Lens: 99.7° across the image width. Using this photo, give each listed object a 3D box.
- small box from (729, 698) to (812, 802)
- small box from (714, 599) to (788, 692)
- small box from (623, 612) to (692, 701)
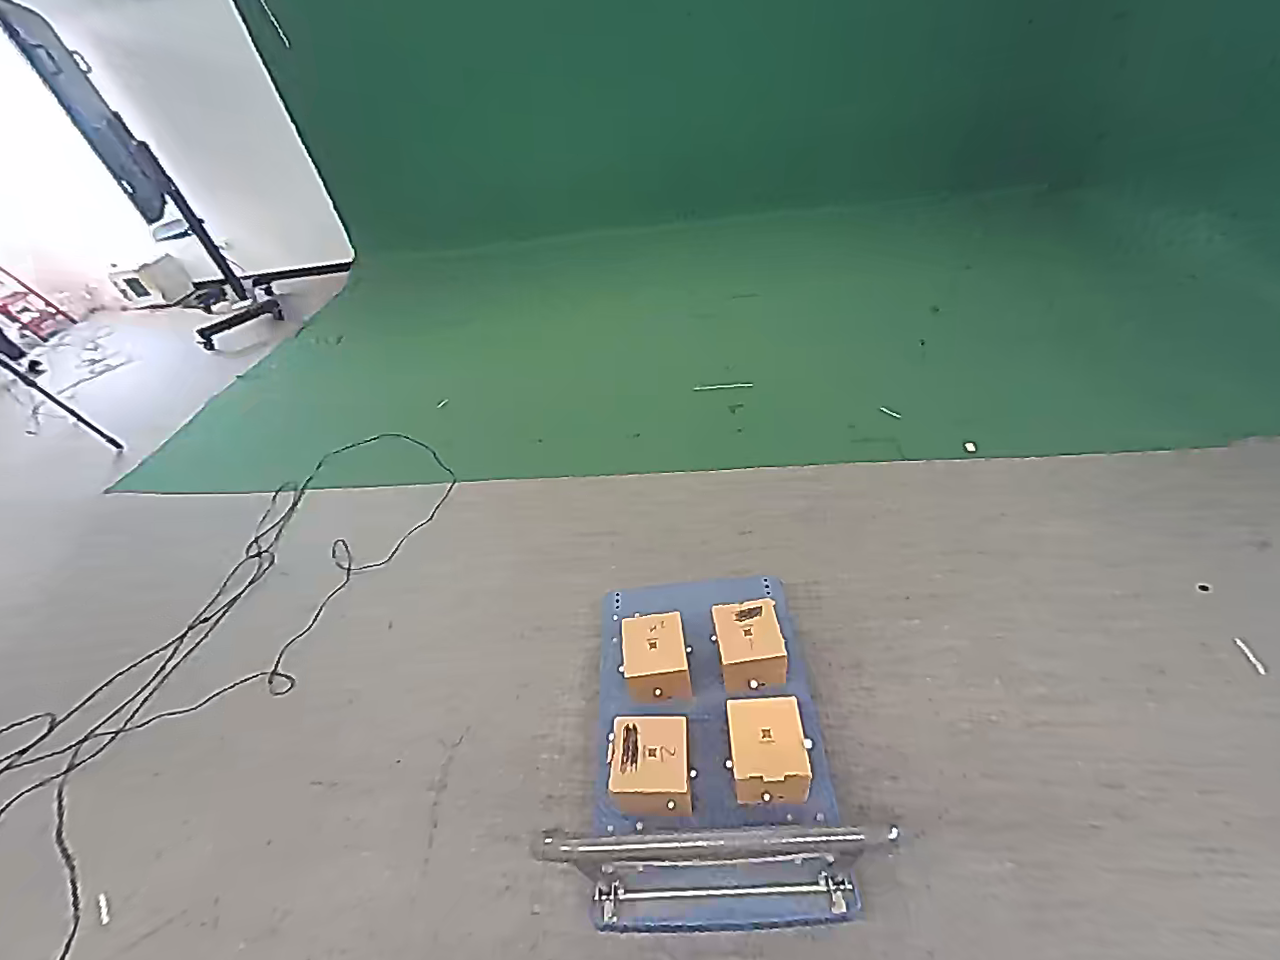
[{"bbox_3d":[0.300,0.639,1.281,0.168,0.176,0.179,-5,44,6],"label":"small box"},{"bbox_3d":[0.298,0.452,1.476,0.168,0.176,0.179,-9,44,3],"label":"small box"},{"bbox_3d":[0.048,0.491,1.488,0.168,0.176,0.179,-8,43,3],"label":"small box"}]
